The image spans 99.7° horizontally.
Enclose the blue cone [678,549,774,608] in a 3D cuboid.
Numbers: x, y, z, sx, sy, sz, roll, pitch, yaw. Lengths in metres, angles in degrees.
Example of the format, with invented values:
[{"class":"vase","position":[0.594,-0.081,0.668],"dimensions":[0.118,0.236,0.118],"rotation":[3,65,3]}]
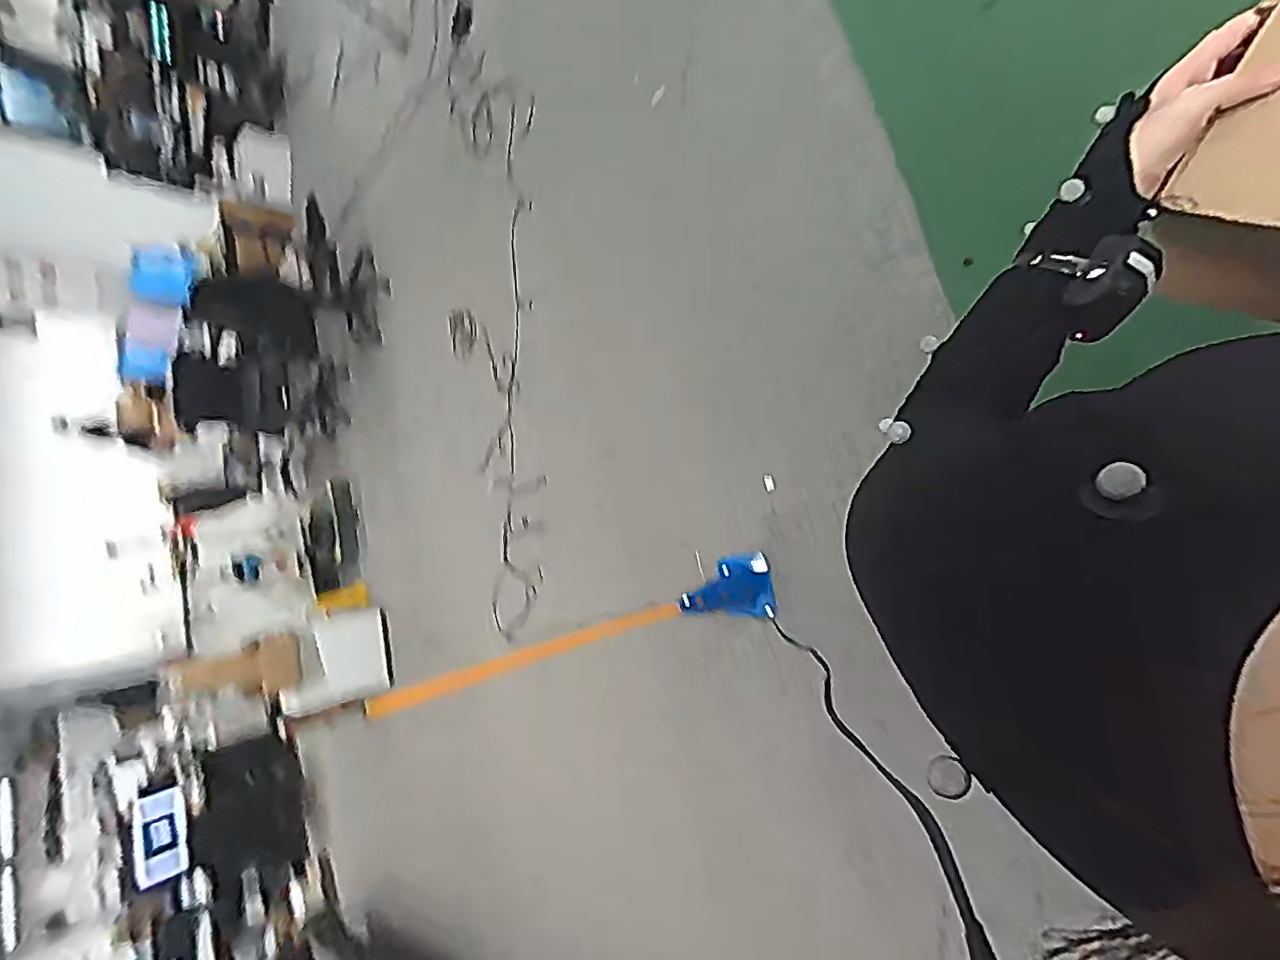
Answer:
[{"class":"blue cone","position":[0.240,0.334,1.674],"dimensions":[0.192,0.380,0.193],"rotation":[-12,84,42]}]

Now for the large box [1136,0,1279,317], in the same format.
[{"class":"large box","position":[0.668,-0.268,0.364],"dimensions":[0.408,0.320,0.320],"rotation":[32,114,34]}]
